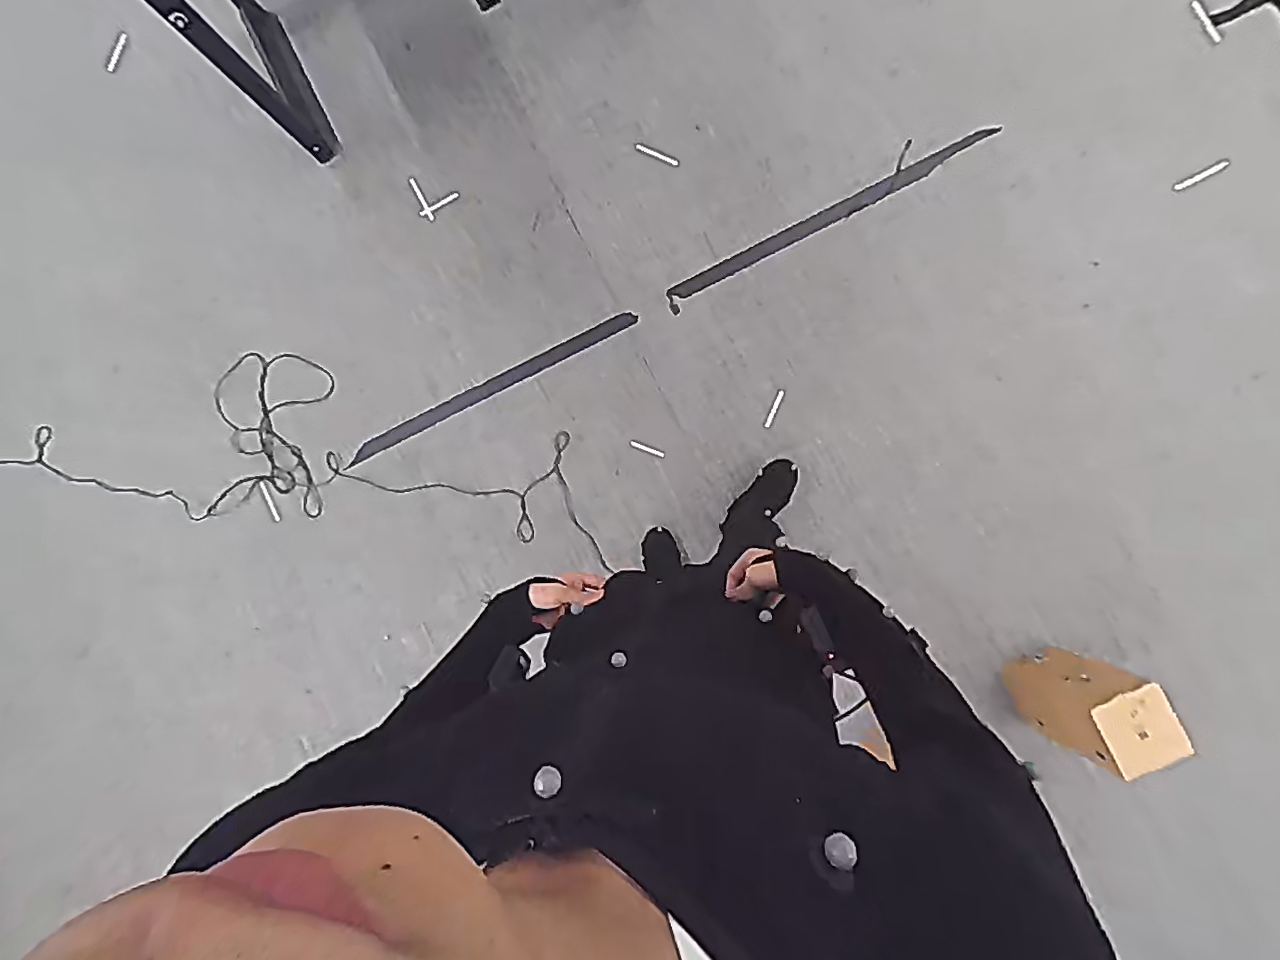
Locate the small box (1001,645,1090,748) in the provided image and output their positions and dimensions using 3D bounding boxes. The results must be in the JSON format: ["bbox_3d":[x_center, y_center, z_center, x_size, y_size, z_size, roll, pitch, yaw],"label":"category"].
[{"bbox_3d":[1.122,0.569,1.445,0.168,0.176,0.179,-24,87,2],"label":"small box"}]

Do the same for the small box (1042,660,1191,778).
[{"bbox_3d":[1.117,0.557,1.281,0.168,0.176,0.179,-25,86,2],"label":"small box"}]
